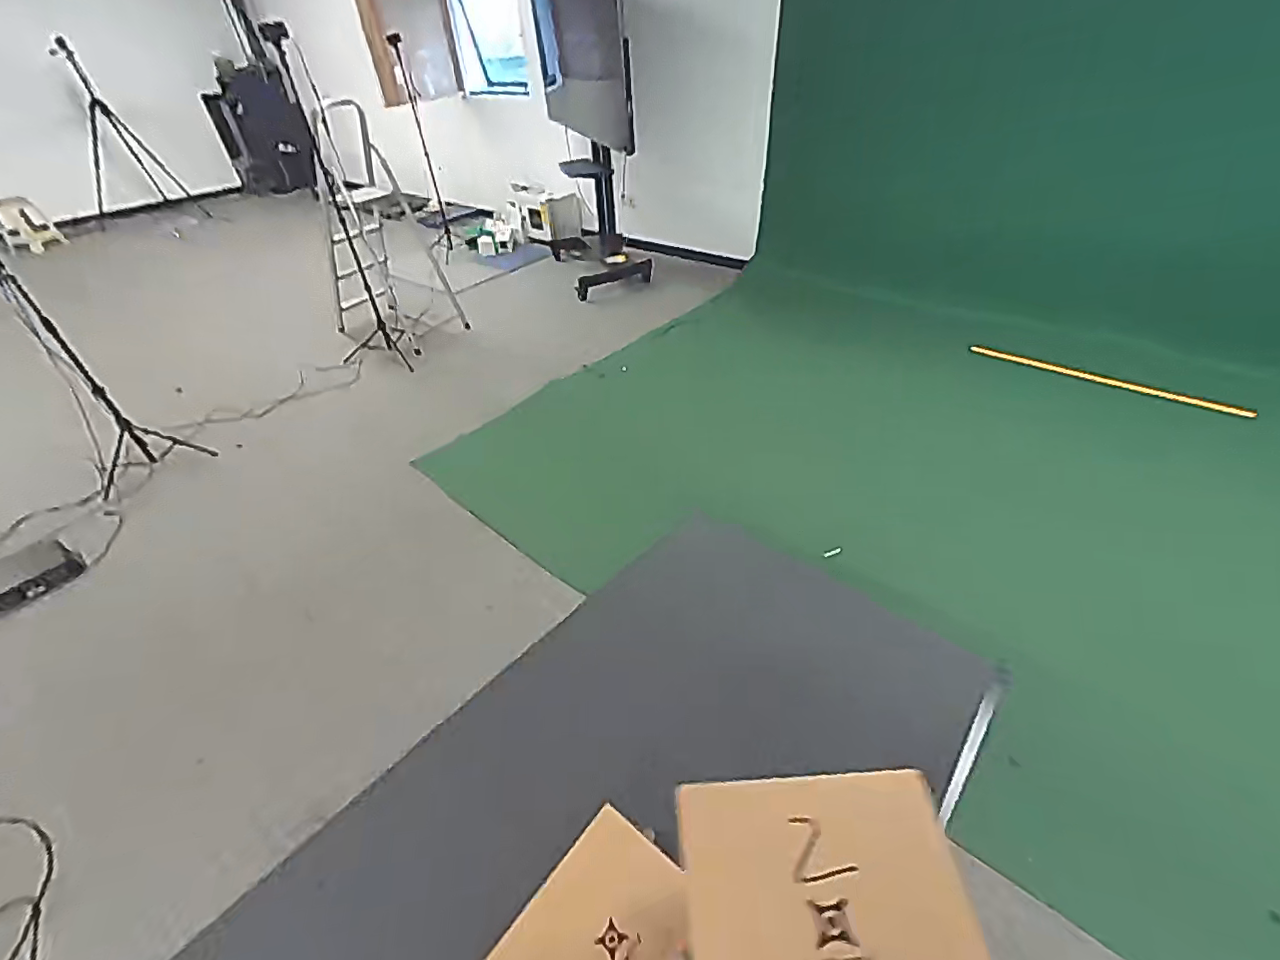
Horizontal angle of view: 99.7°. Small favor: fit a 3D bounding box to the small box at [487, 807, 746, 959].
[{"bbox_3d":[-0.017,0.478,0.530,0.179,0.176,0.168,26,48,31],"label":"small box"}]
